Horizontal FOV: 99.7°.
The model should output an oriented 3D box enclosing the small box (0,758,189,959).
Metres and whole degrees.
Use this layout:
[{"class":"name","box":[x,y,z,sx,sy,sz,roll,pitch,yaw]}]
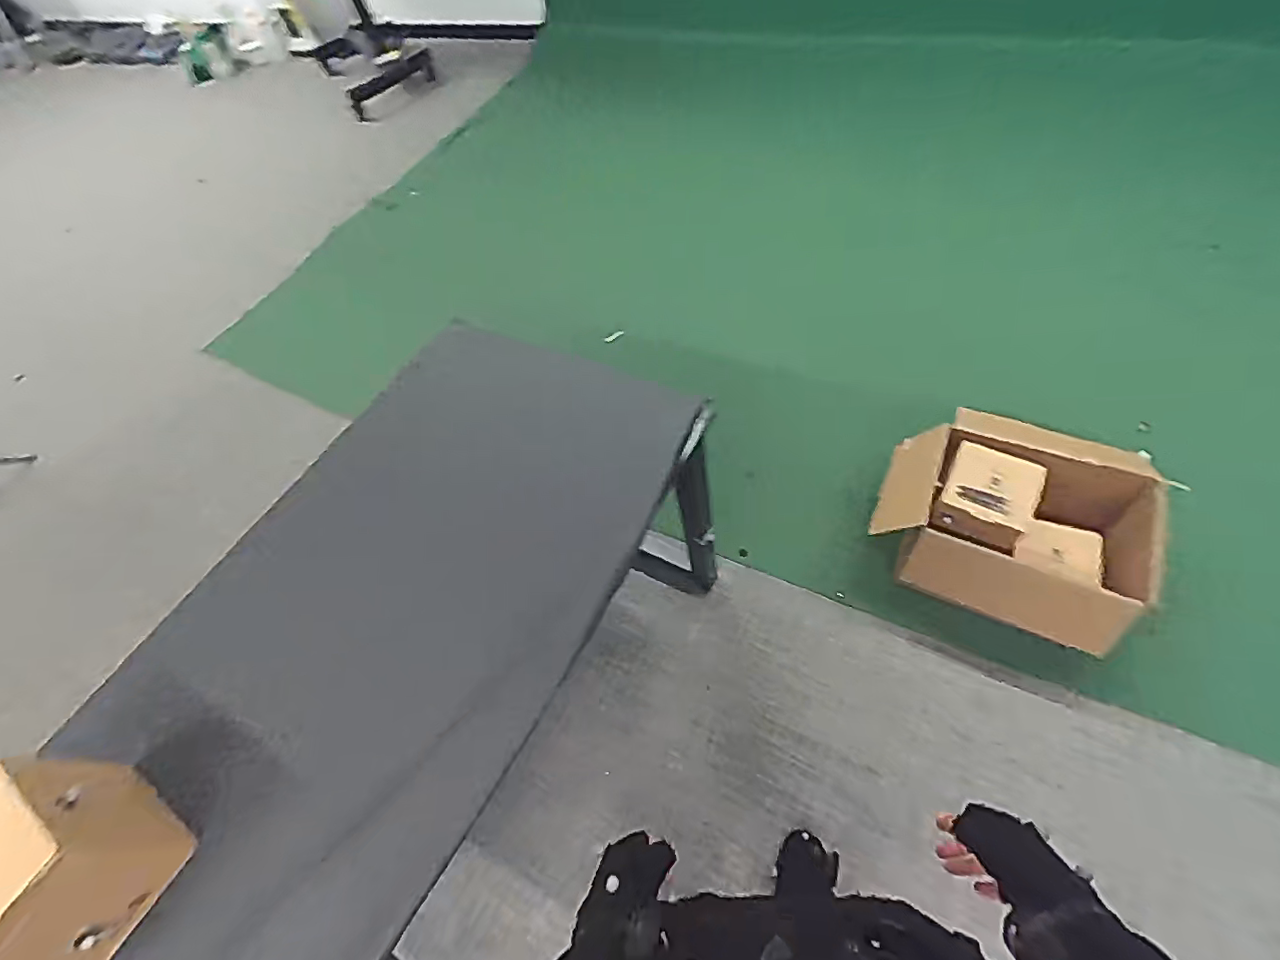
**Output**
[{"class":"small box","box":[-0.667,0.438,0.592,0.179,0.176,0.168,23,65,21]}]
